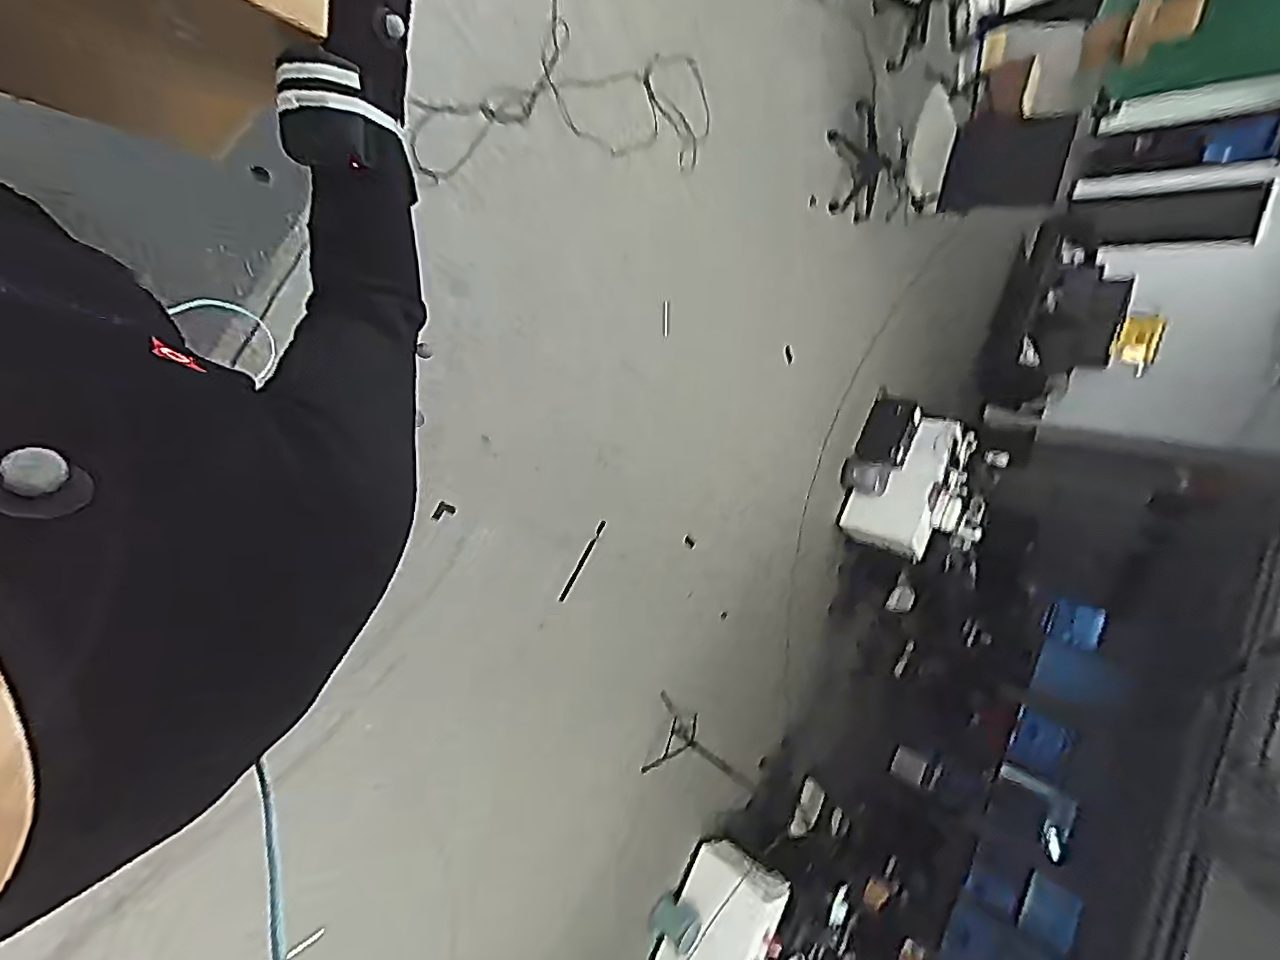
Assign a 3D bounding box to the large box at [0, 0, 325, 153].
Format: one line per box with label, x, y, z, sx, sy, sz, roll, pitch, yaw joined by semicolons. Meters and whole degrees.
large box;-0.452;-0.458;0.303;0.408;0.320;0.320;-4;100;-48
